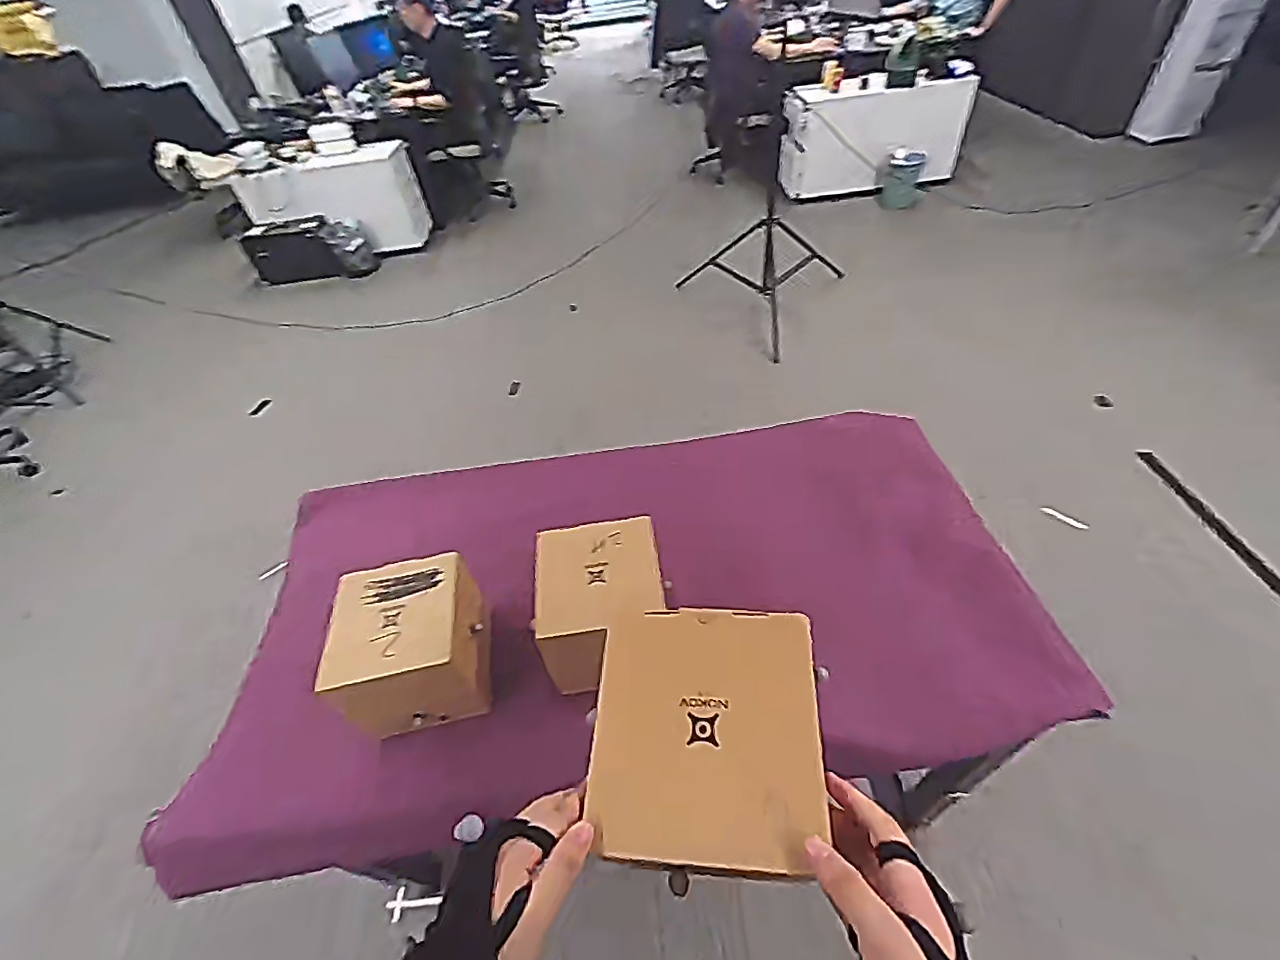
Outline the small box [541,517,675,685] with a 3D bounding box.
[{"bbox_3d":[-0.044,0.181,0.788,0.168,0.176,0.179,-8,45,-1],"label":"small box"}]
